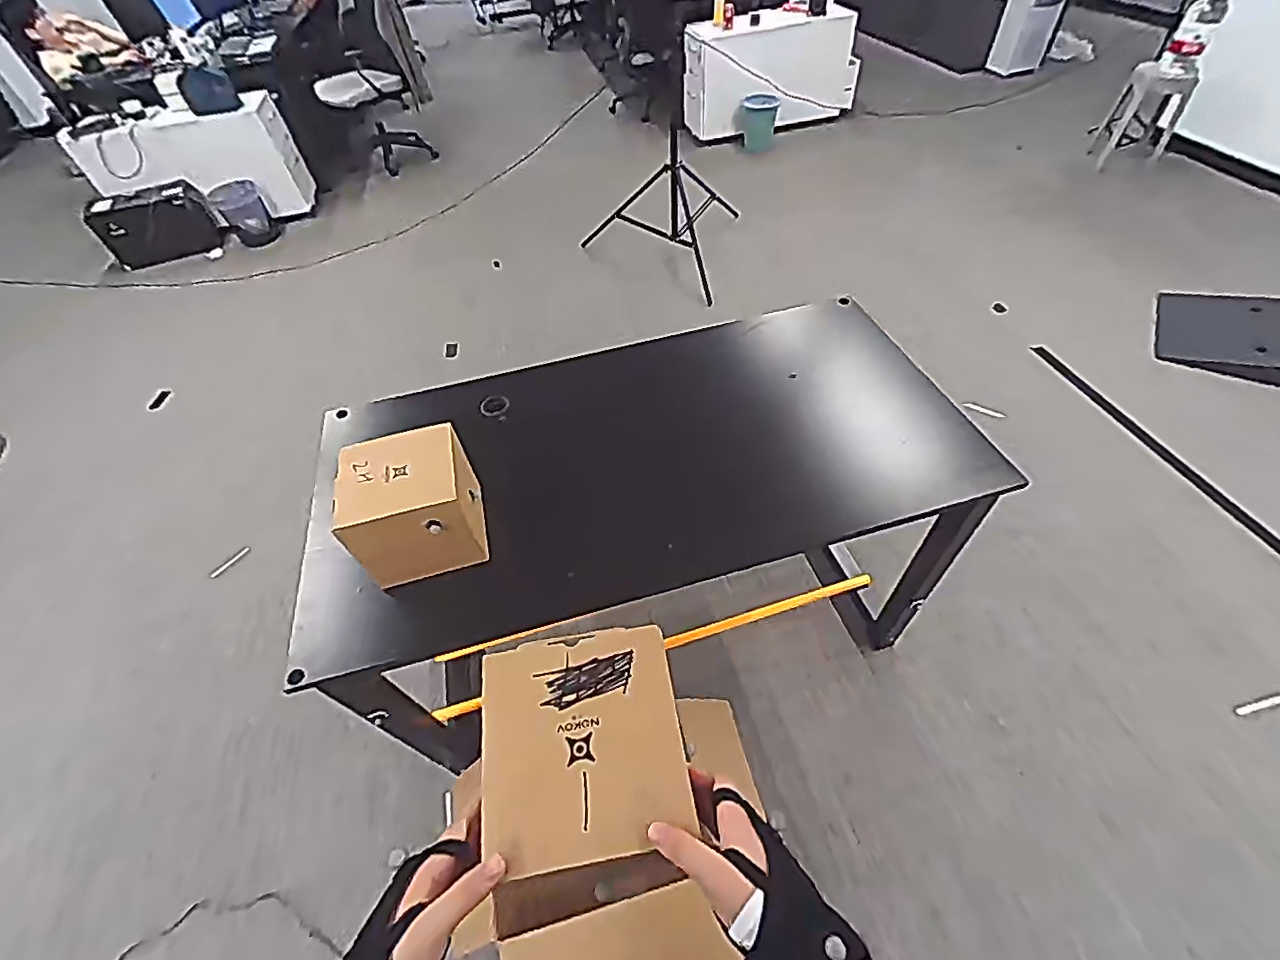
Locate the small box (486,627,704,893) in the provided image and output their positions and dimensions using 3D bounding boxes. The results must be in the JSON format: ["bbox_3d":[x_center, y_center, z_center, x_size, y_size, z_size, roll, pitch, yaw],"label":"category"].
[{"bbox_3d":[-0.041,0.268,0.516,0.168,0.176,0.179,-10,51,-3],"label":"small box"}]

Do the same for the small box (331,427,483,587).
[{"bbox_3d":[-0.359,0.046,0.865,0.179,0.176,0.168,-15,50,-7],"label":"small box"}]
